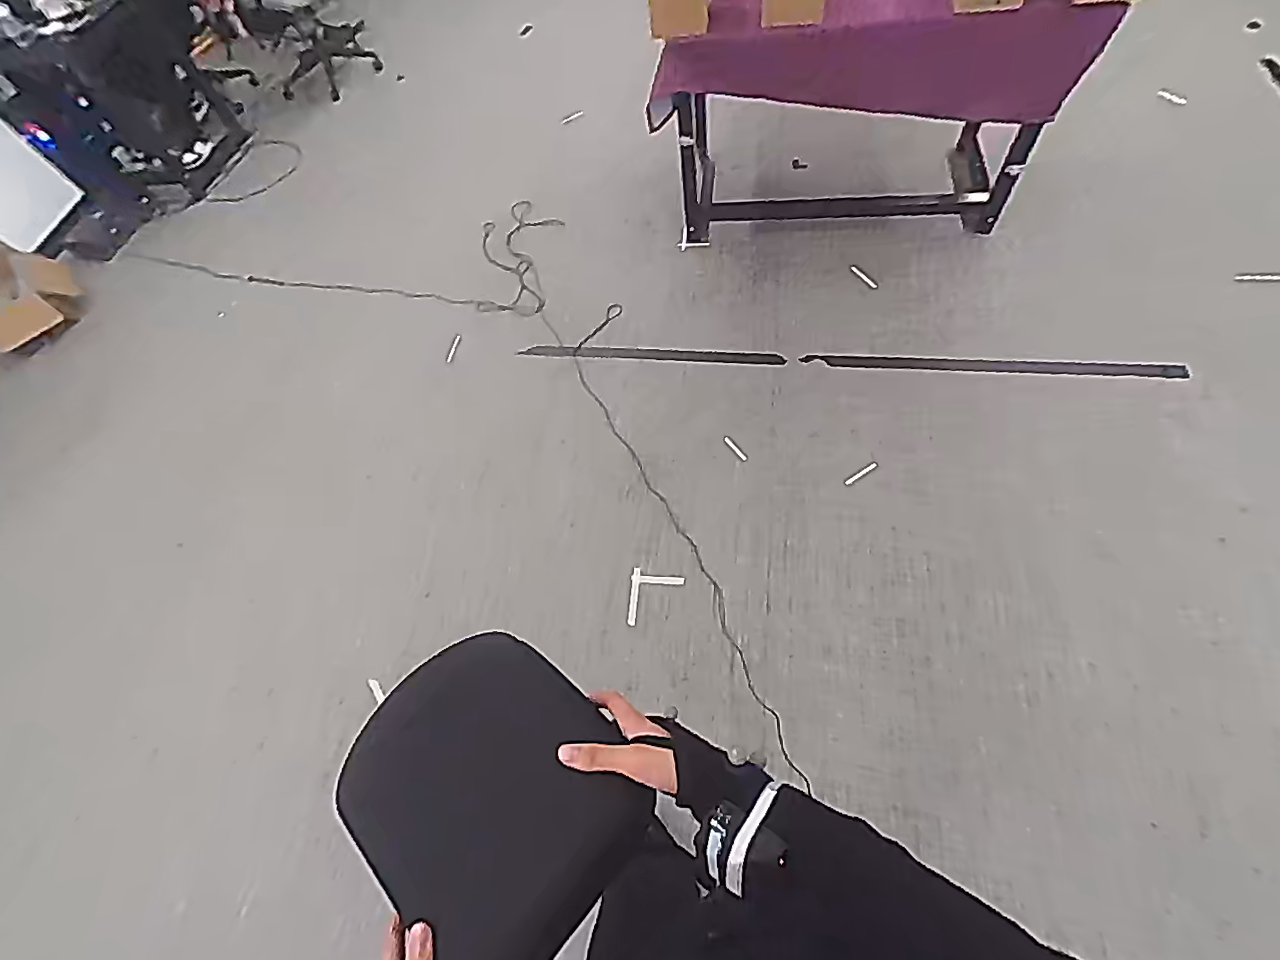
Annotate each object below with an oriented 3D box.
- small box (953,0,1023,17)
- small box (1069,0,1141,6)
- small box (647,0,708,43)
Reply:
[{"bbox_3d":[0.958,-1.391,1.456,0.168,0.176,0.179,6,63,13],"label":"small box"},{"bbox_3d":[1.235,-1.365,1.394,0.168,0.176,0.179,6,62,13],"label":"small box"},{"bbox_3d":[0.113,-1.454,1.628,0.179,0.176,0.168,1,61,8],"label":"small box"}]
